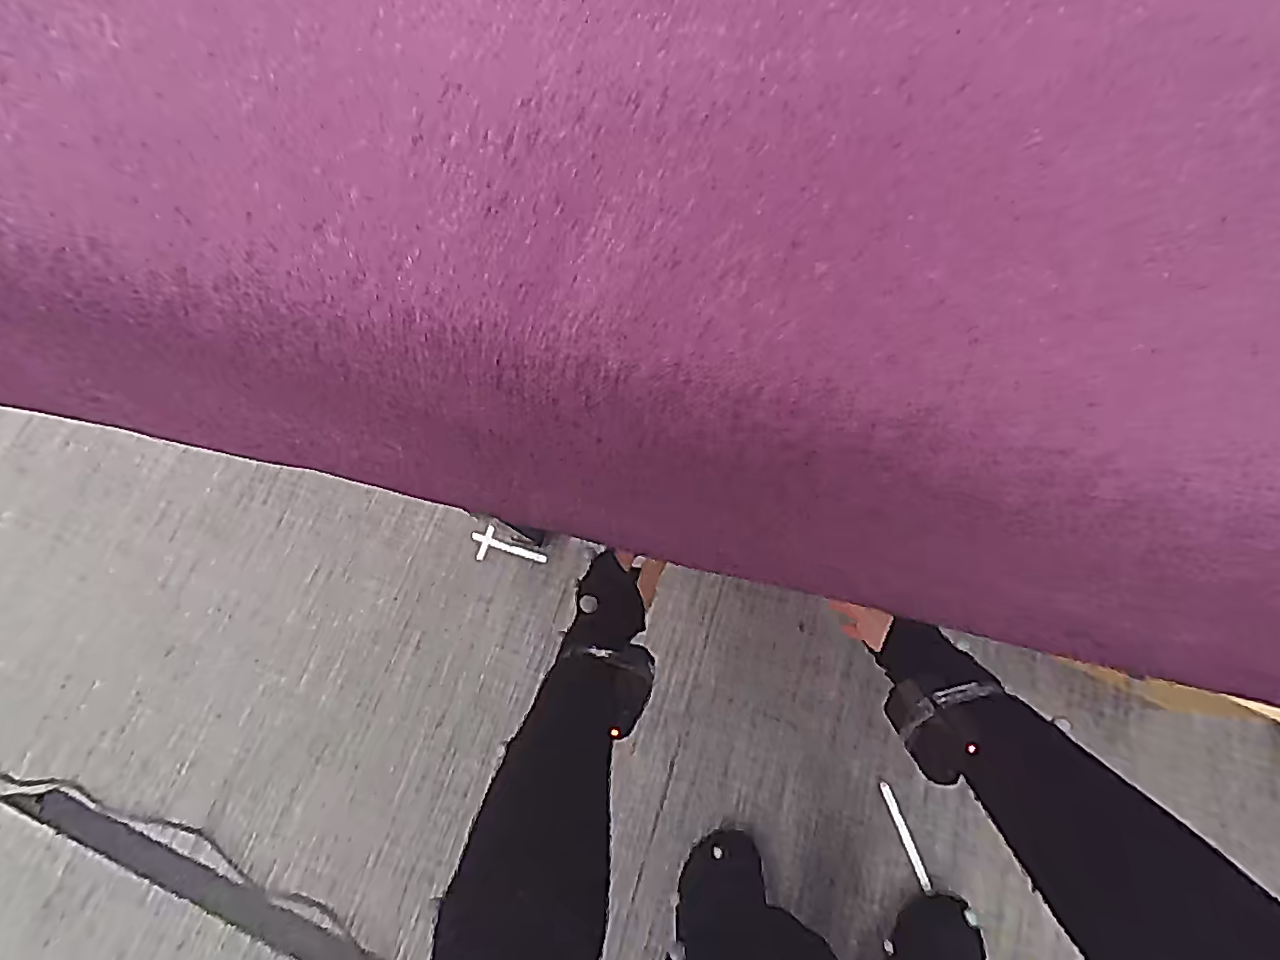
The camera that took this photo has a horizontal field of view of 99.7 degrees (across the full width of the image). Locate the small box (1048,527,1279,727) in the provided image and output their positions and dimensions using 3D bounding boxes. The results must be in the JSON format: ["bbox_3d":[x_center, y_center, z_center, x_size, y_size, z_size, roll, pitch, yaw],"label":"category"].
[{"bbox_3d":[0.674,0.187,0.697,0.168,0.176,0.179,24,76,13],"label":"small box"}]
